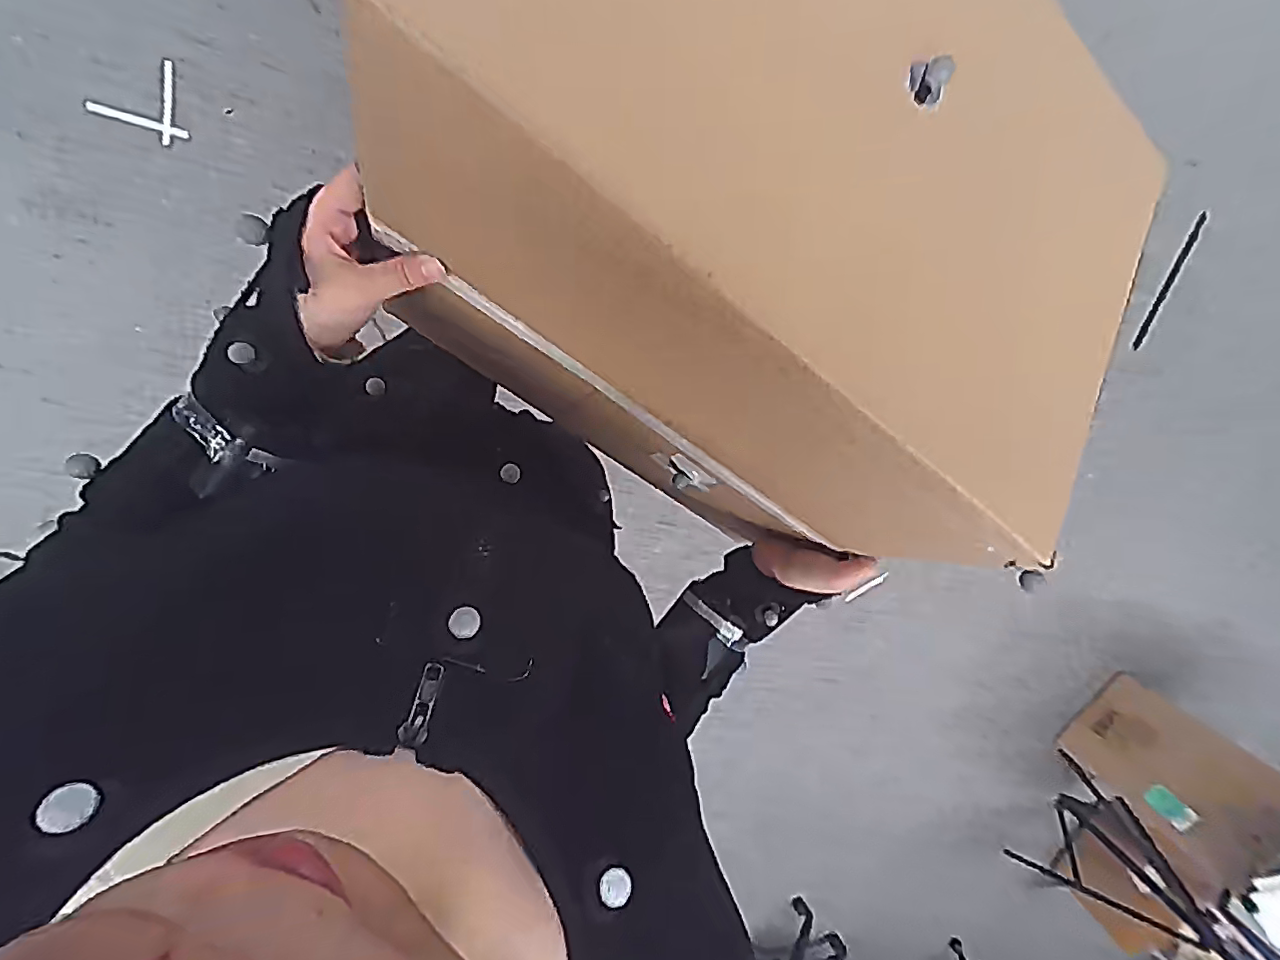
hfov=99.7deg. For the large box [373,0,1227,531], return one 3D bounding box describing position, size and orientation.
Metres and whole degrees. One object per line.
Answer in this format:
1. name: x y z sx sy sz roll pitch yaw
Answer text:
1. large box: 0.090 -0.198 0.382 0.408 0.320 0.320 32 76 -18
